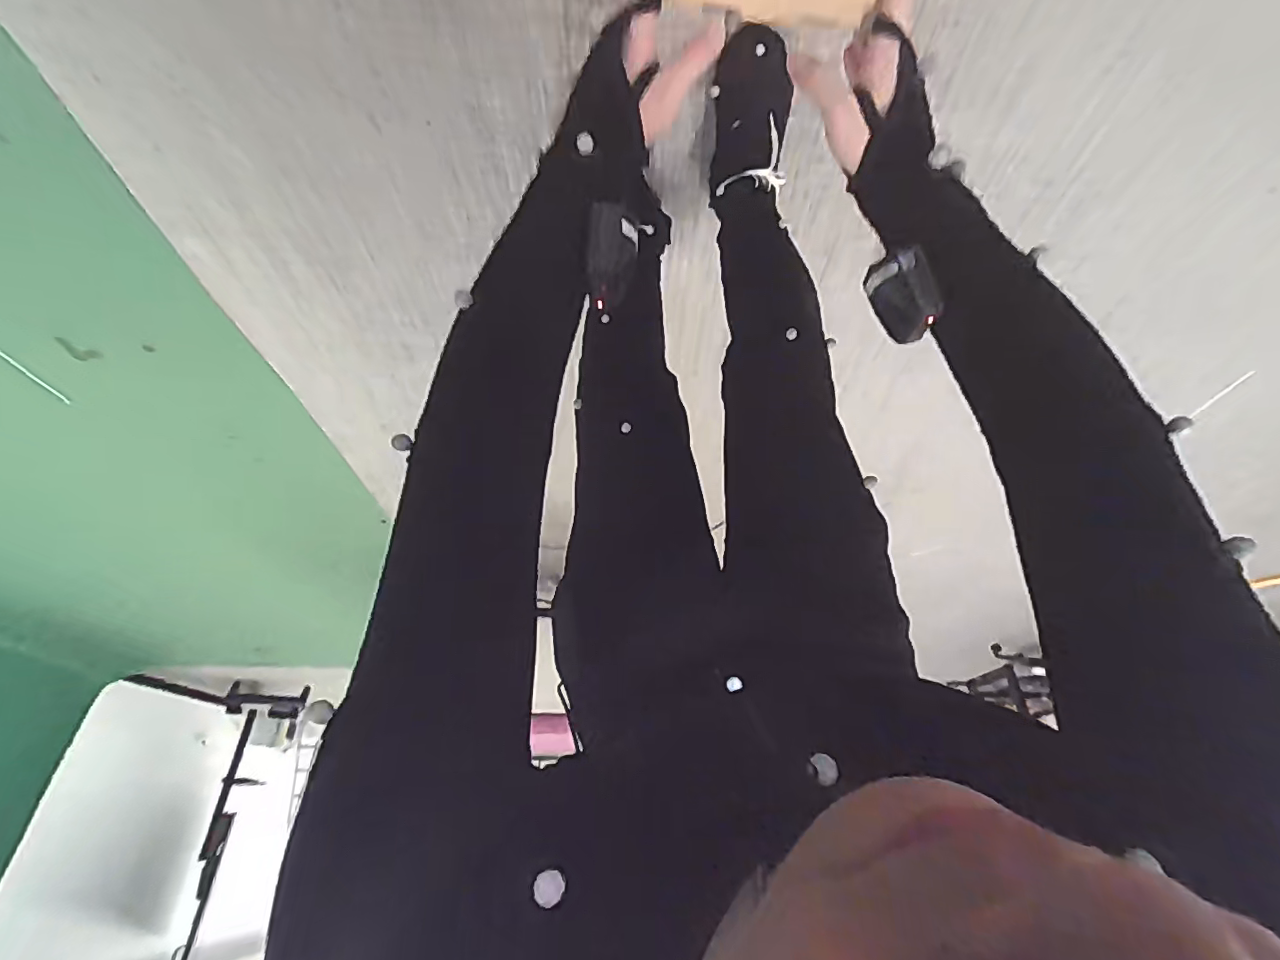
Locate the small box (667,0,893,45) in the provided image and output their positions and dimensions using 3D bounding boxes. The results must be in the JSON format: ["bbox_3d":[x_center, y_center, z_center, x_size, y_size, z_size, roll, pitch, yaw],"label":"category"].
[{"bbox_3d":[0.107,-0.451,0.401,0.168,0.176,0.179,4,133,-4],"label":"small box"}]
